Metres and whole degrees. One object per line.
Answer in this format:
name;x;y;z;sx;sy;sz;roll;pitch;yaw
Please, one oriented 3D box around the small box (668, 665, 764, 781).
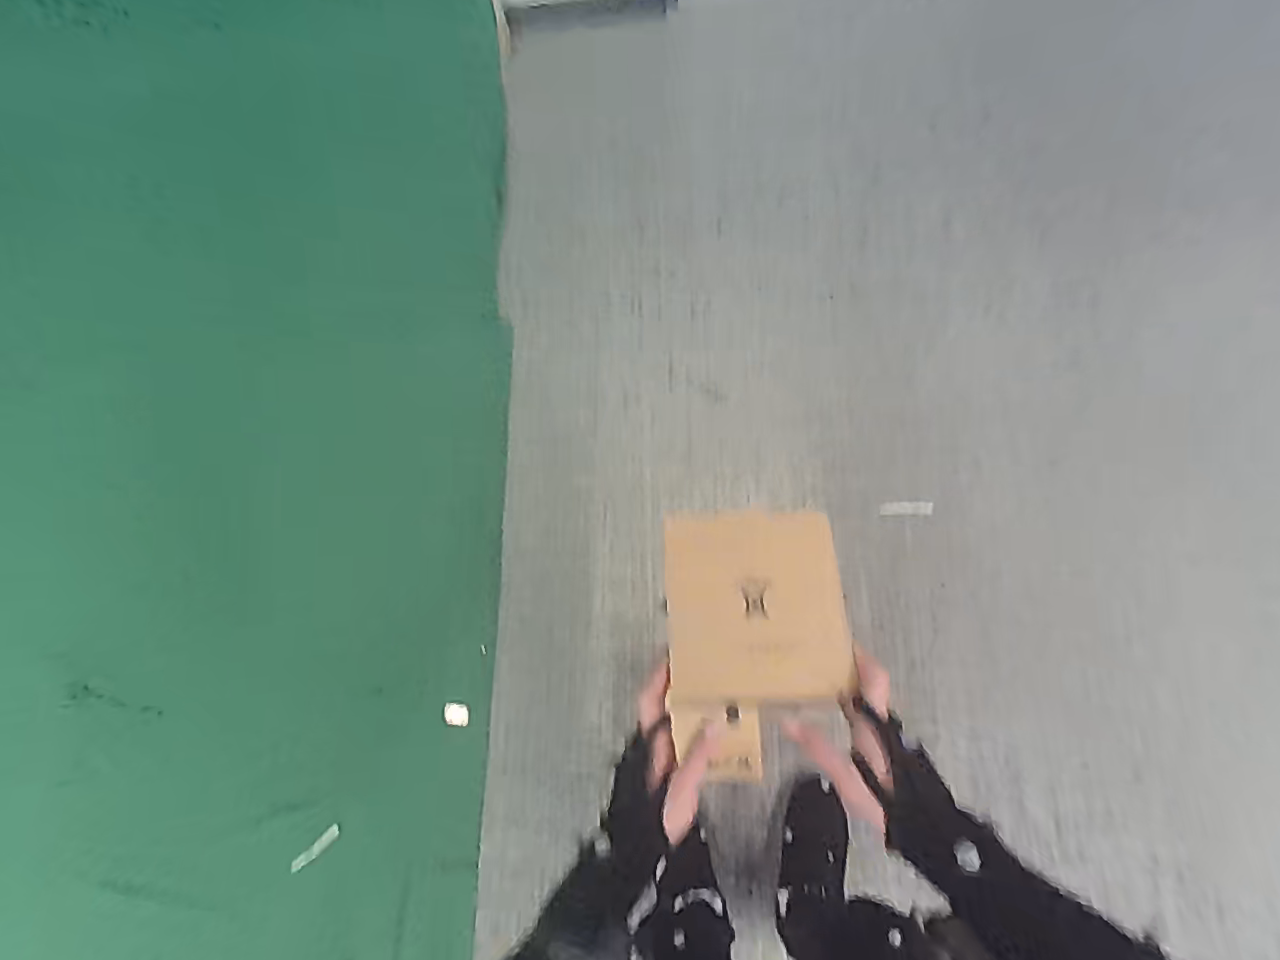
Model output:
small box;0.138;0.445;1.016;0.168;0.176;0.179;-1;75;6
